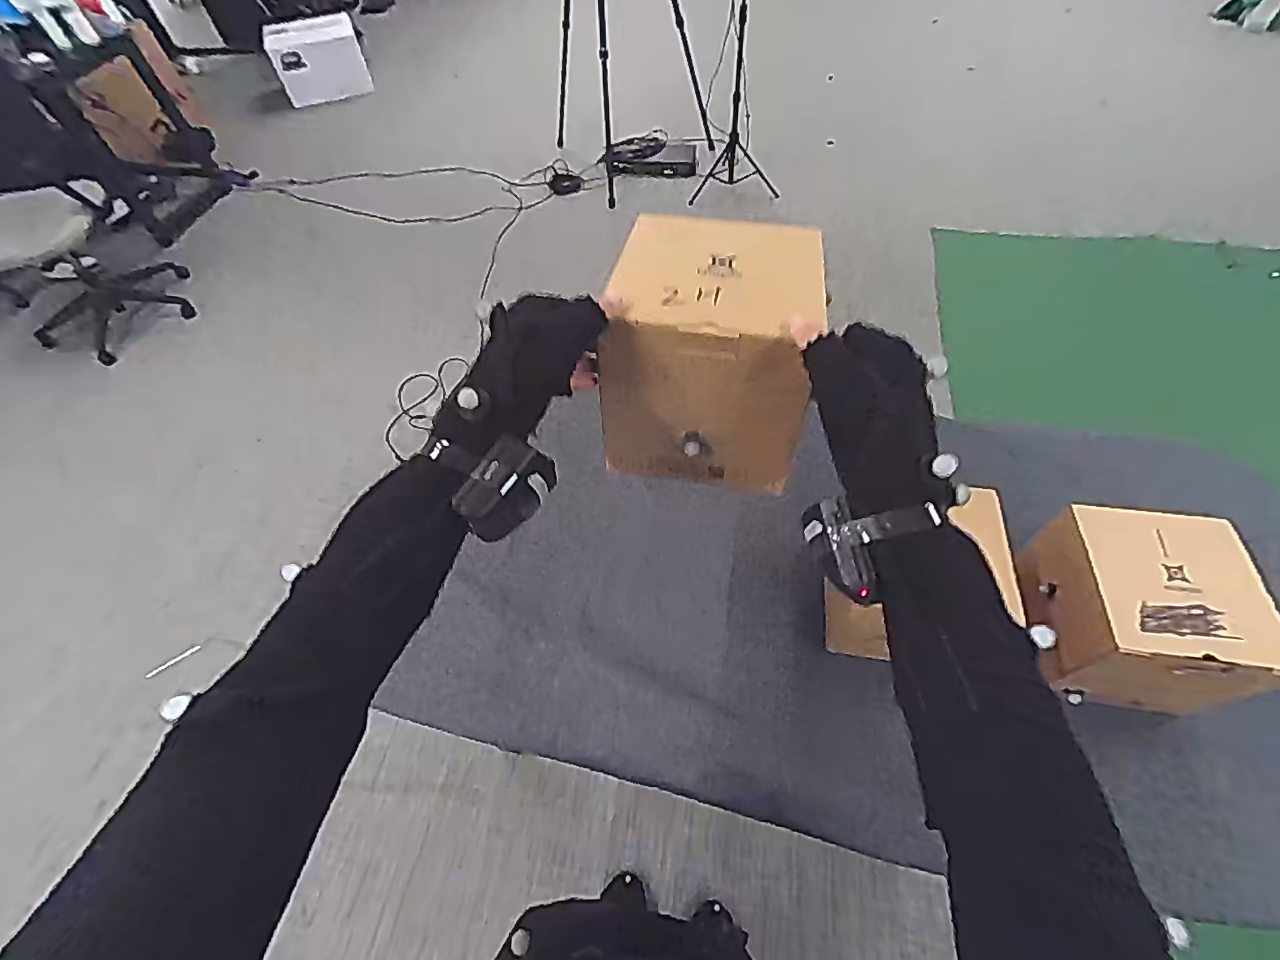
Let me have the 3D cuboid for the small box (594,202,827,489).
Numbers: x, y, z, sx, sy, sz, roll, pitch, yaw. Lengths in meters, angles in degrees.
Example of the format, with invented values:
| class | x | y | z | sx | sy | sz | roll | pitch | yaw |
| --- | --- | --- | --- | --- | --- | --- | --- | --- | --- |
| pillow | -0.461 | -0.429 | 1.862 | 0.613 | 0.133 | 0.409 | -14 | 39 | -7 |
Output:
| class | x | y | z | sx | sy | sz | roll | pitch | yaw |
| --- | --- | --- | --- | --- | --- | --- | --- | --- | --- |
| small box | 0.062 | -0.119 | 0.483 | 0.168 | 0.176 | 0.179 | 9 | 51 | 8 |

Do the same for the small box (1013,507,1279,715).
| class | x | y | z | sx | sy | sz | roll | pitch | yaw |
| --- | --- | --- | --- | --- | --- | --- | --- | --- | --- |
| small box | 0.567 | 0.156 | 0.626 | 0.168 | 0.176 | 0.179 | 6 | 54 | 8 |

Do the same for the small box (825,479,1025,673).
| class | x | y | z | sx | sy | sz | roll | pitch | yaw |
| --- | --- | --- | --- | --- | --- | --- | --- | --- | --- |
| small box | 0.332 | 0.123 | 0.671 | 0.168 | 0.176 | 0.179 | 6 | 54 | 9 |
